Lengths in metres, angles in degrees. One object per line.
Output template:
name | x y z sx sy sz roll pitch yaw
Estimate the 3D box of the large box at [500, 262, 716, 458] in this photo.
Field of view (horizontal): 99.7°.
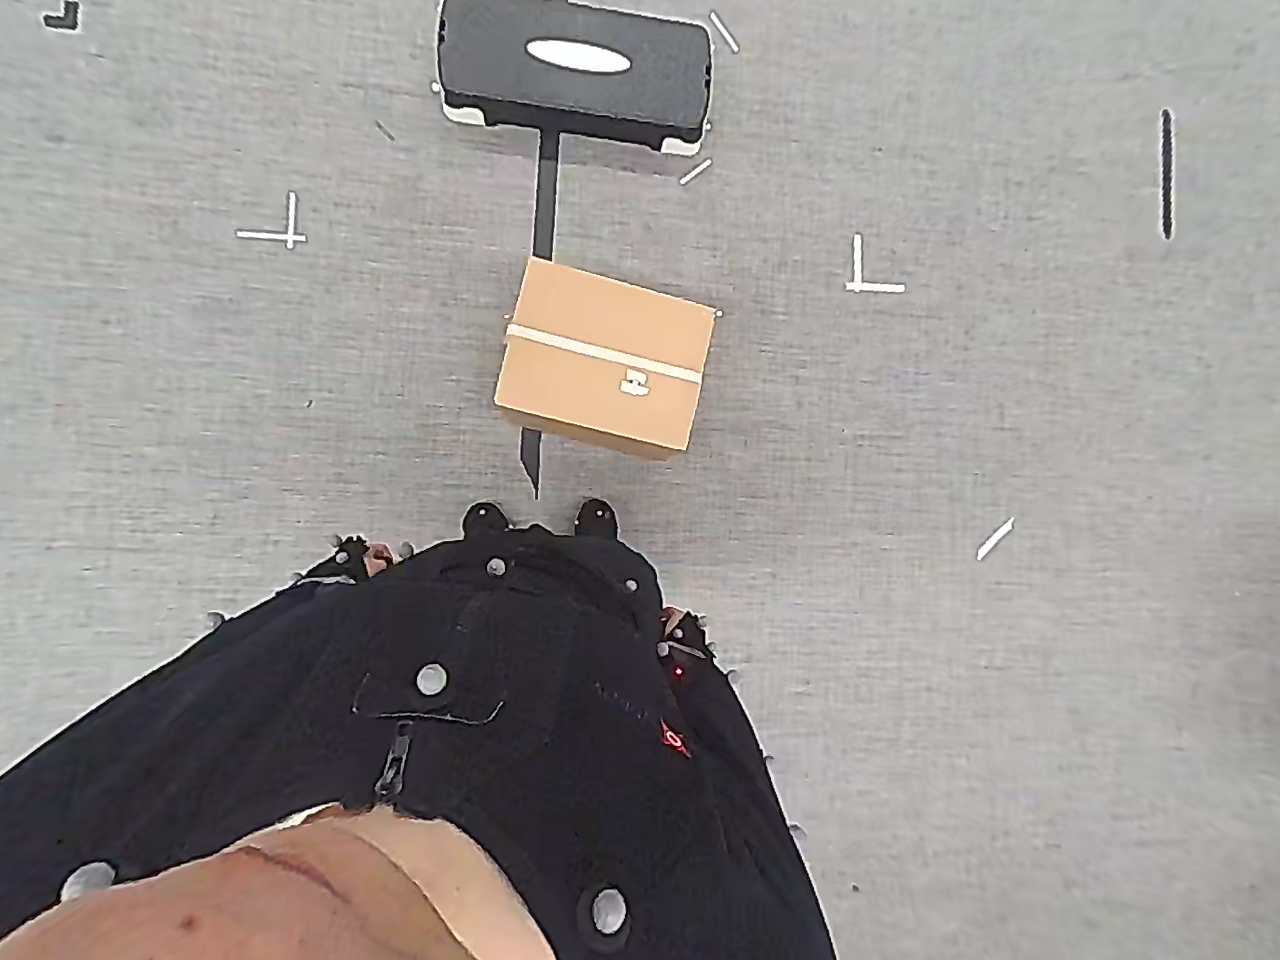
large box | -0.082 -0.248 1.255 0.408 0.320 0.320 13 87 -8
